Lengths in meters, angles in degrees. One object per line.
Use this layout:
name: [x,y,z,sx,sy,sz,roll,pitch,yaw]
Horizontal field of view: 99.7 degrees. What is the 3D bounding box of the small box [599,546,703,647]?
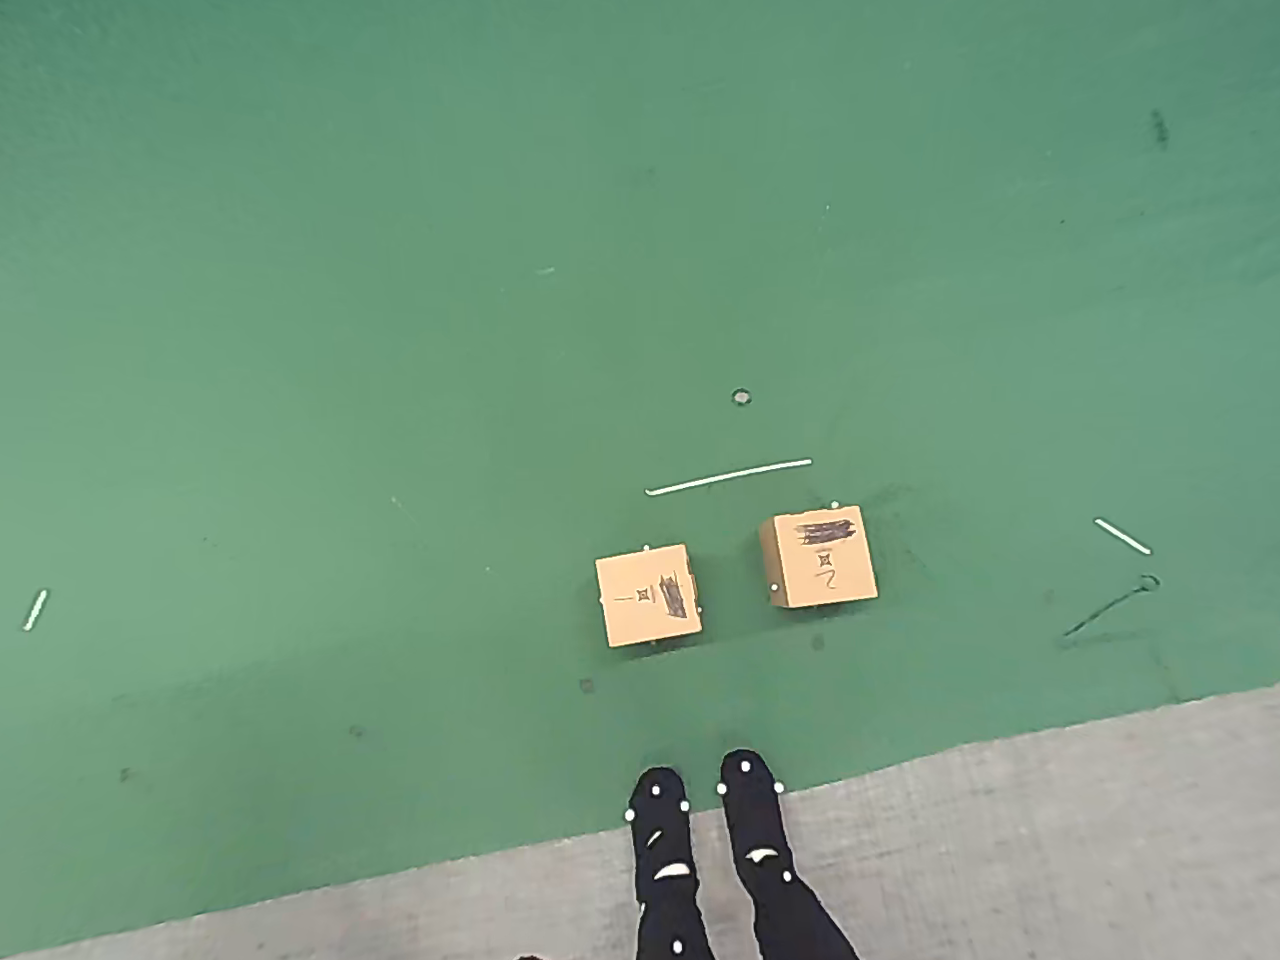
small box: [0.023,0.232,1.093,0.179,0.176,0.168,-11,78,2]
